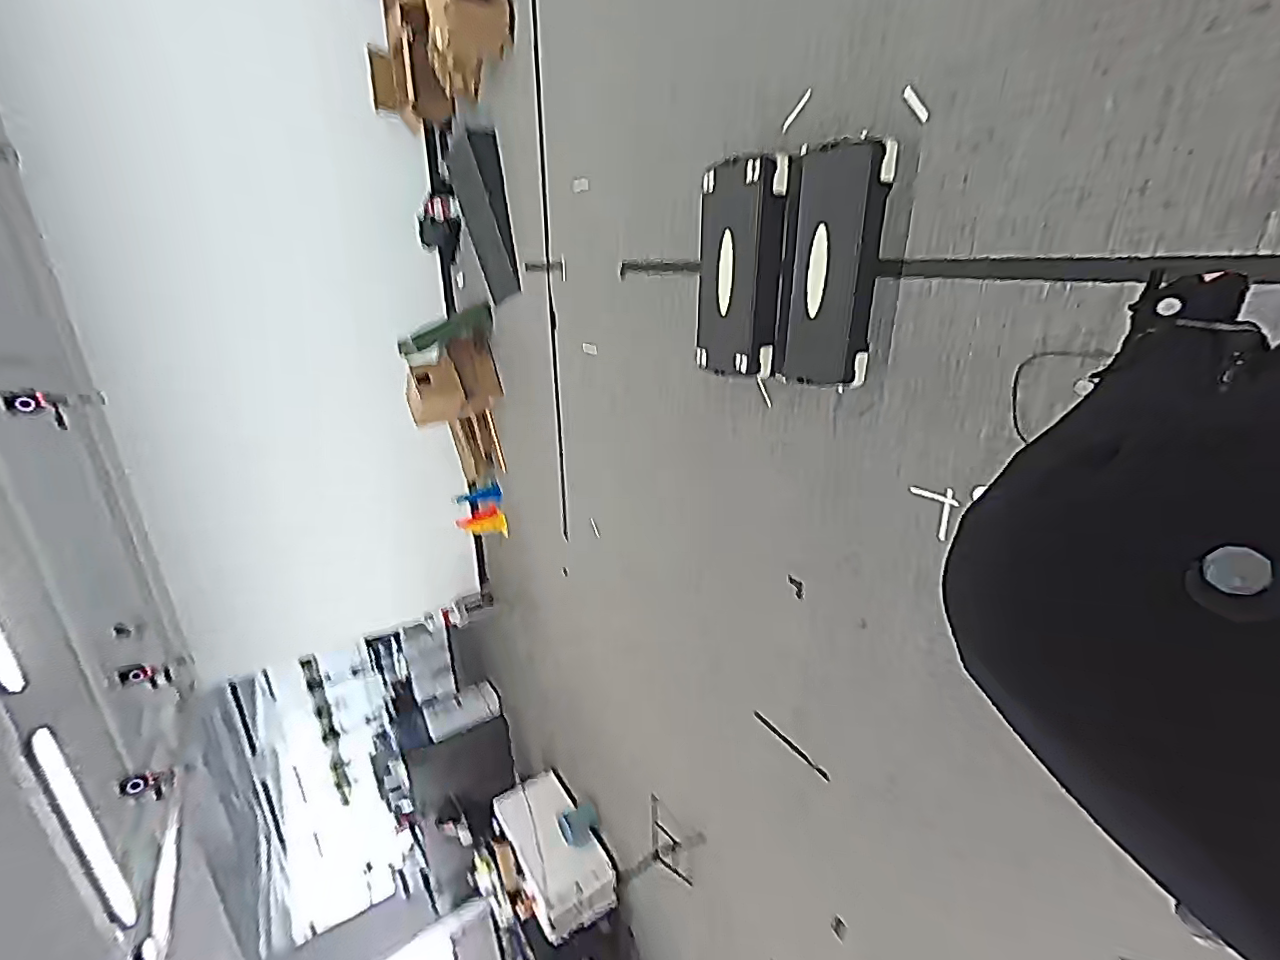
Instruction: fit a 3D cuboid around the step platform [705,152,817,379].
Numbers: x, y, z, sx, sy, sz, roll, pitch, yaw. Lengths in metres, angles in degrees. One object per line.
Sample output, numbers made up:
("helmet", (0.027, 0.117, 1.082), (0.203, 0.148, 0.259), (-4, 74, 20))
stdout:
("step platform", (0.381, -0.682, 1.785), (0.286, 0.204, 0.684), (26, 122, 51))
